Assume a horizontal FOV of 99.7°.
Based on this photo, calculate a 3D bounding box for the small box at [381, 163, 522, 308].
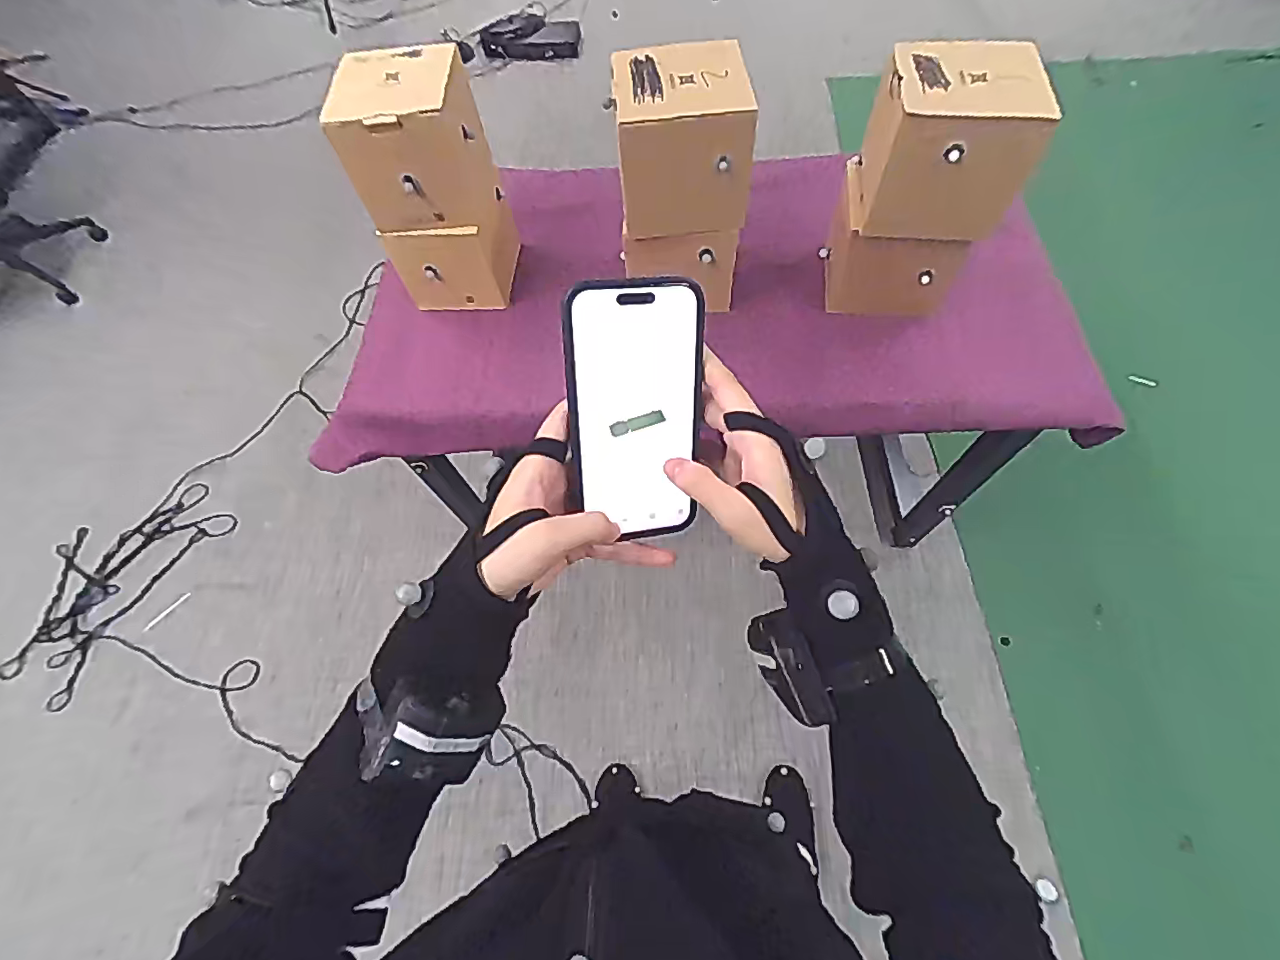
[{"bbox_3d":[-0.317,-0.419,0.949,0.168,0.176,0.179,0,63,5],"label":"small box"}]

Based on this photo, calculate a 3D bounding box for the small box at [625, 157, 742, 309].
[{"bbox_3d":[0.072,-0.406,0.906,0.179,0.176,0.168,-1,63,5],"label":"small box"}]

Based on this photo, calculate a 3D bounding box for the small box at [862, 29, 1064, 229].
[{"bbox_3d":[0.405,-0.458,0.720,0.179,0.176,0.168,5,63,7],"label":"small box"}]

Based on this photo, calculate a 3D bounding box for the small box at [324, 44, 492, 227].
[{"bbox_3d":[-0.330,-0.502,0.807,0.168,0.176,0.179,-4,63,2],"label":"small box"}]

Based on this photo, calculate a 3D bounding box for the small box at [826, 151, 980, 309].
[{"bbox_3d":[0.410,-0.397,0.872,0.179,0.176,0.168,5,63,8],"label":"small box"}]
